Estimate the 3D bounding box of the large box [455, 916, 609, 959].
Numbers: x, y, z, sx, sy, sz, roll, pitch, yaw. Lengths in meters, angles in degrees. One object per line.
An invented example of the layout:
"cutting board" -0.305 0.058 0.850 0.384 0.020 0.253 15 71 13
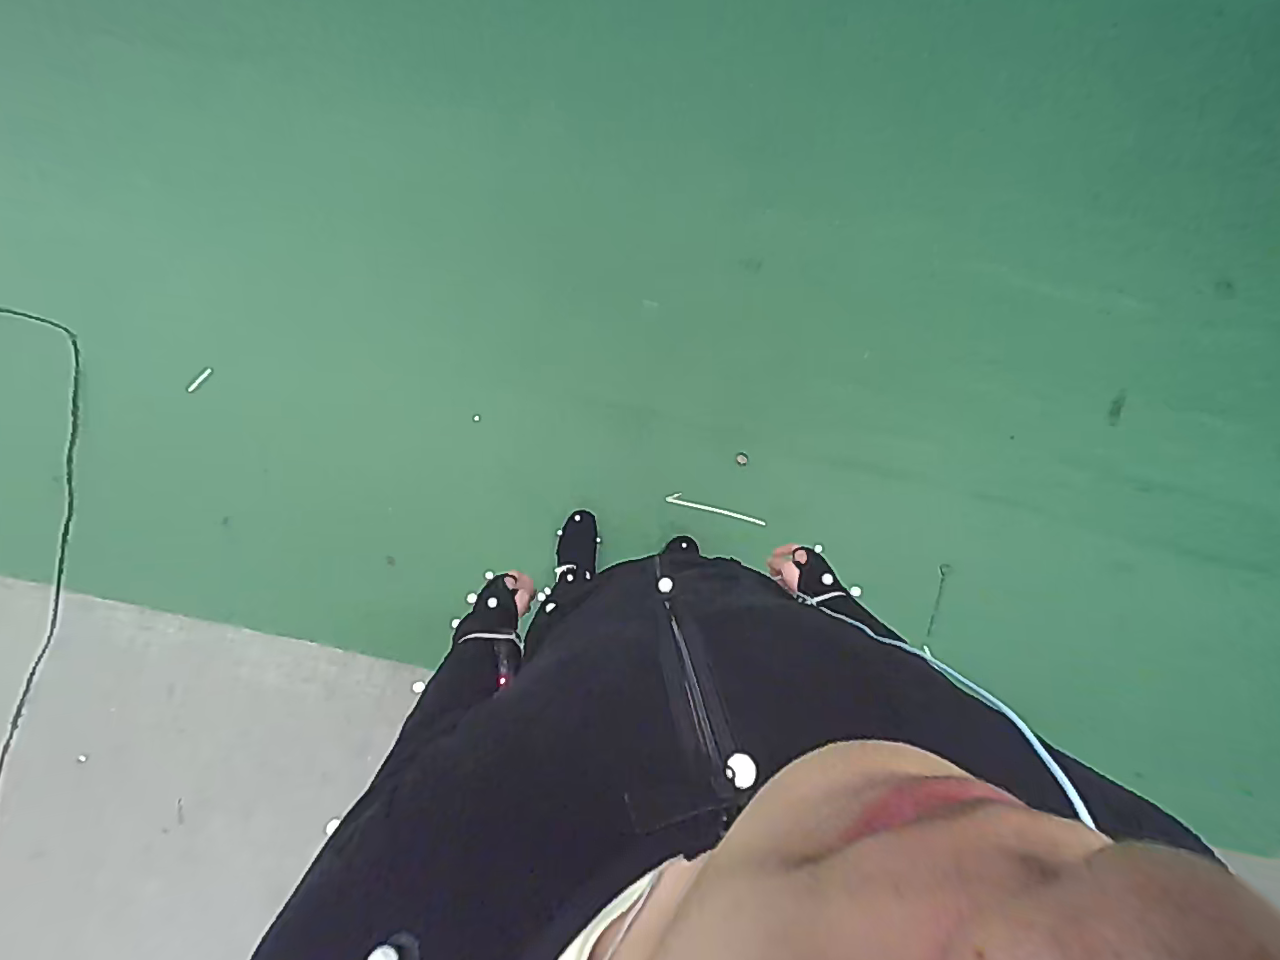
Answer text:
"large box" -0.301 1.396 1.374 0.408 0.320 0.320 11 84 -2
